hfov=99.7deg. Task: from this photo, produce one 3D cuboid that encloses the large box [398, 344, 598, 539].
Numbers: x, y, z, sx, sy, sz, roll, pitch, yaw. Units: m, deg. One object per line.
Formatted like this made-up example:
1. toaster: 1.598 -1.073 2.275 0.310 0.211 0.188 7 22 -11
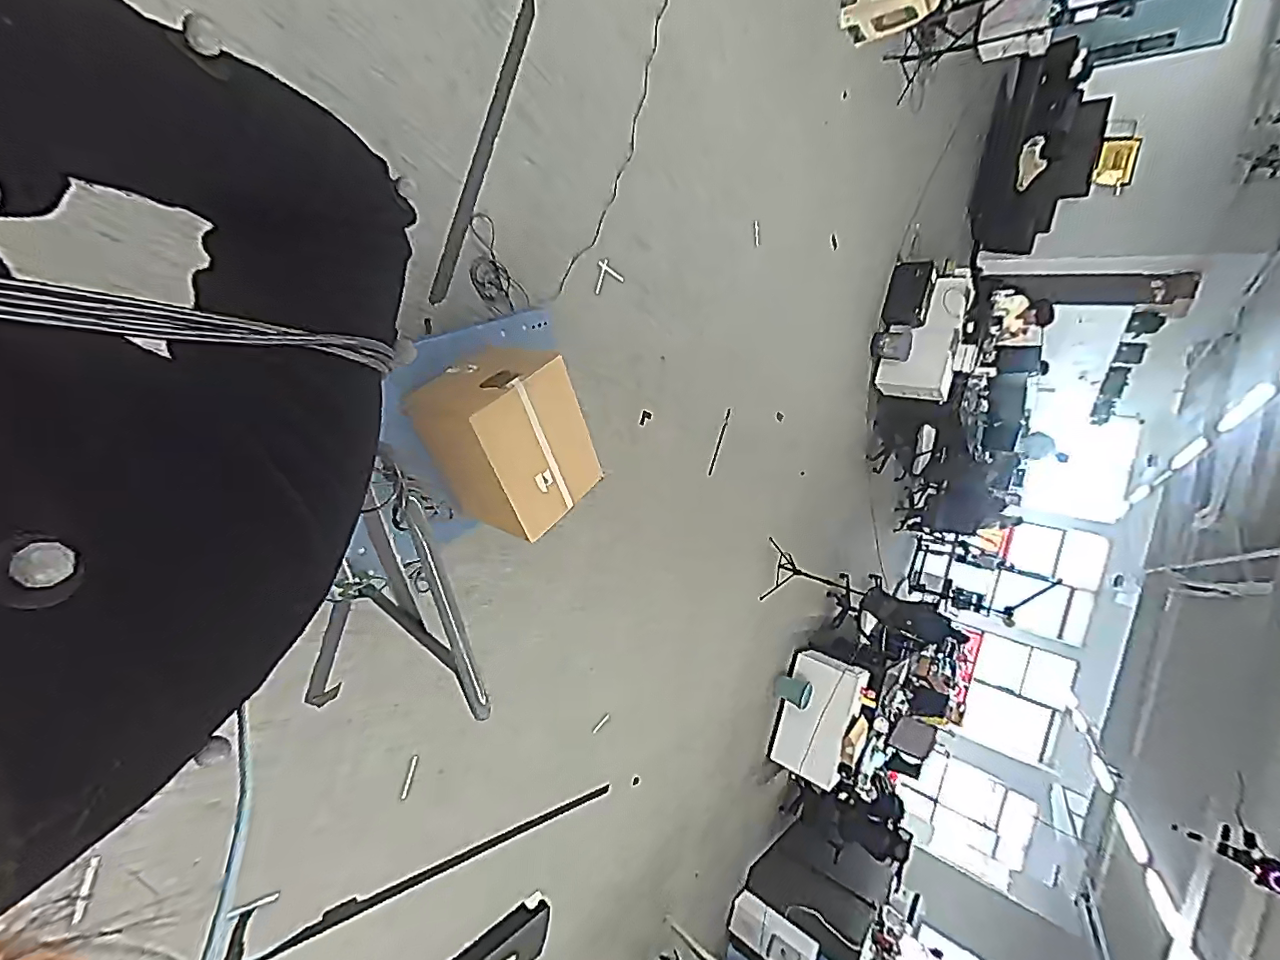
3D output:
1. large box: -0.372 -0.115 1.484 0.320 0.320 0.408 -45 135 -33
